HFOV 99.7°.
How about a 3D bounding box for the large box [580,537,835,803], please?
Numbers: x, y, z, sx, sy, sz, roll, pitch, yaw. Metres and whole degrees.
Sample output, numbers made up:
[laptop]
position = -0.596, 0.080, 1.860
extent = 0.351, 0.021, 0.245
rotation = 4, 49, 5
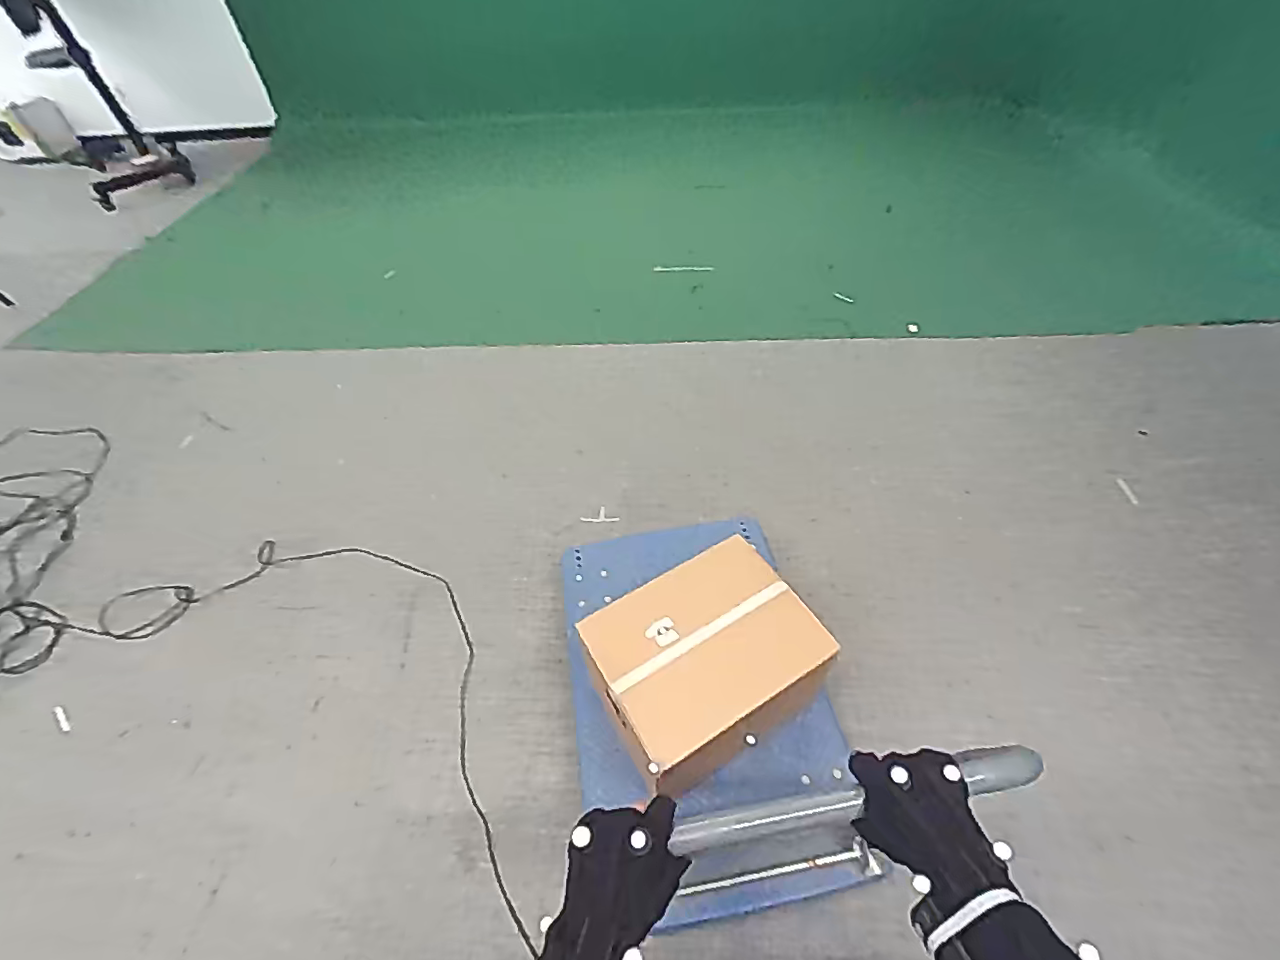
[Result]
[large box]
position = 0.134, 0.399, 1.152
extent = 0.408, 0.320, 0.320
rotation = -27, 52, -17
